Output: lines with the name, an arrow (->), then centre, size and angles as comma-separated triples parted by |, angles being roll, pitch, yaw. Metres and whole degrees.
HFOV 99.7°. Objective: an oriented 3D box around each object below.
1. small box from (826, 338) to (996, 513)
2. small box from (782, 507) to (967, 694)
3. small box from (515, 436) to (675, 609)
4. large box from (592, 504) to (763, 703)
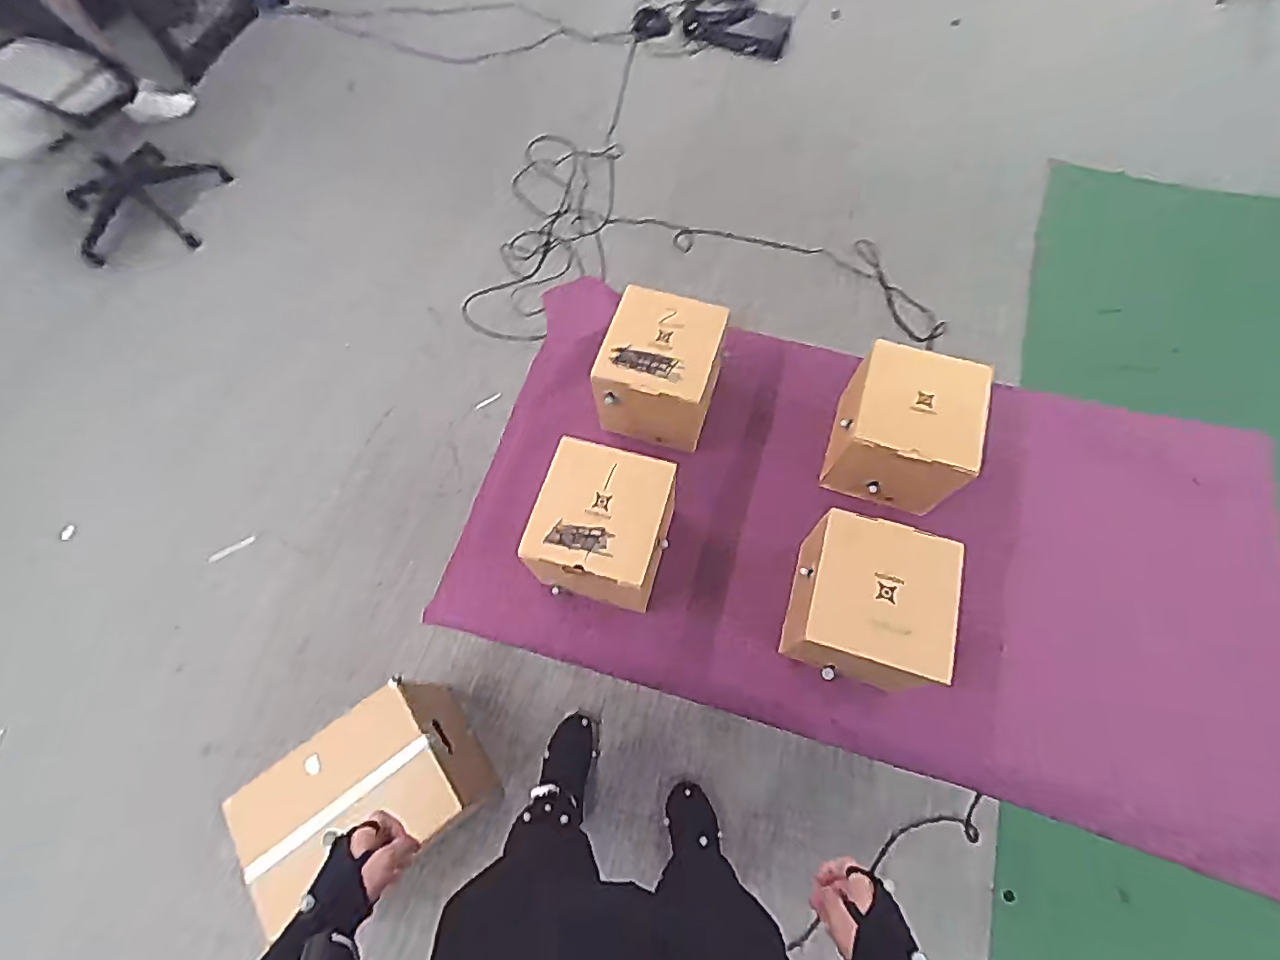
small box -> 0.392, -0.074, 0.805 | 0.168, 0.176, 0.179 | 17, 70, 9
small box -> 0.295, 0.163, 0.707 | 0.168, 0.176, 0.179 | 16, 68, 10
small box -> -0.051, 0.068, 0.762 | 0.168, 0.176, 0.179 | 15, 67, 8
large box -> 0.100, 0.313, 1.372 | 0.320, 0.320, 0.408 | 15, 68, 8
